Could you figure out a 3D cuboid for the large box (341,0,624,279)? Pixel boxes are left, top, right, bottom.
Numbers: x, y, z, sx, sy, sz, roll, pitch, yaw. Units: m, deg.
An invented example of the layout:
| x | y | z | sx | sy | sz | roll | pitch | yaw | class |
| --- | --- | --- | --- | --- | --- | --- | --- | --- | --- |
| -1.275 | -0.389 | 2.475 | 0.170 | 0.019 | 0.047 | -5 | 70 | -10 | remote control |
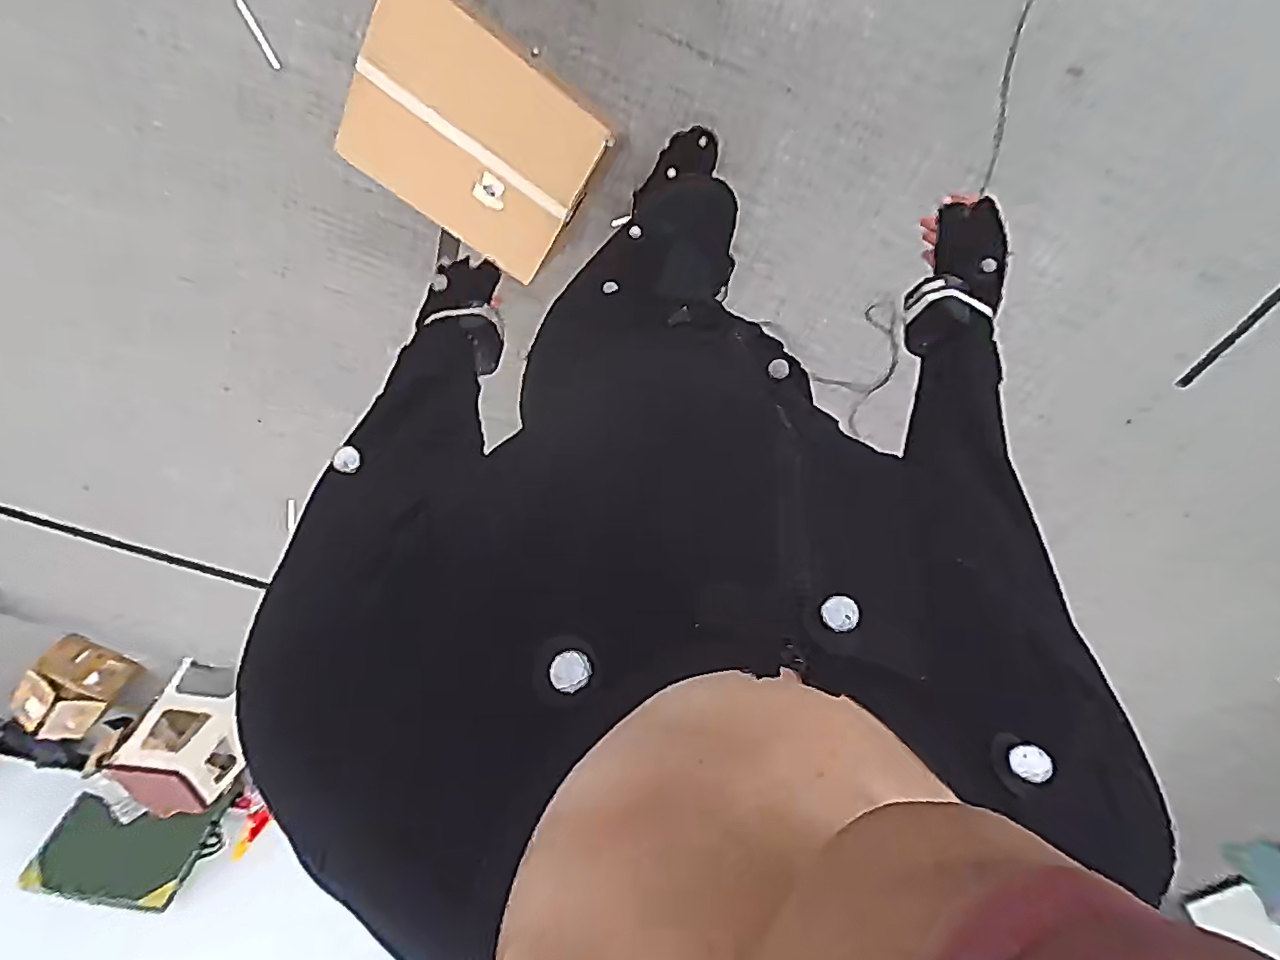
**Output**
| x | y | z | sx | sy | sz | roll | pitch | yaw | class |
| --- | --- | --- | --- | --- | --- | --- | --- | --- | --- |
| -0.286 | -0.677 | 1.075 | 0.408 | 0.320 | 0.320 | 31 | 121 | -16 | large box |
